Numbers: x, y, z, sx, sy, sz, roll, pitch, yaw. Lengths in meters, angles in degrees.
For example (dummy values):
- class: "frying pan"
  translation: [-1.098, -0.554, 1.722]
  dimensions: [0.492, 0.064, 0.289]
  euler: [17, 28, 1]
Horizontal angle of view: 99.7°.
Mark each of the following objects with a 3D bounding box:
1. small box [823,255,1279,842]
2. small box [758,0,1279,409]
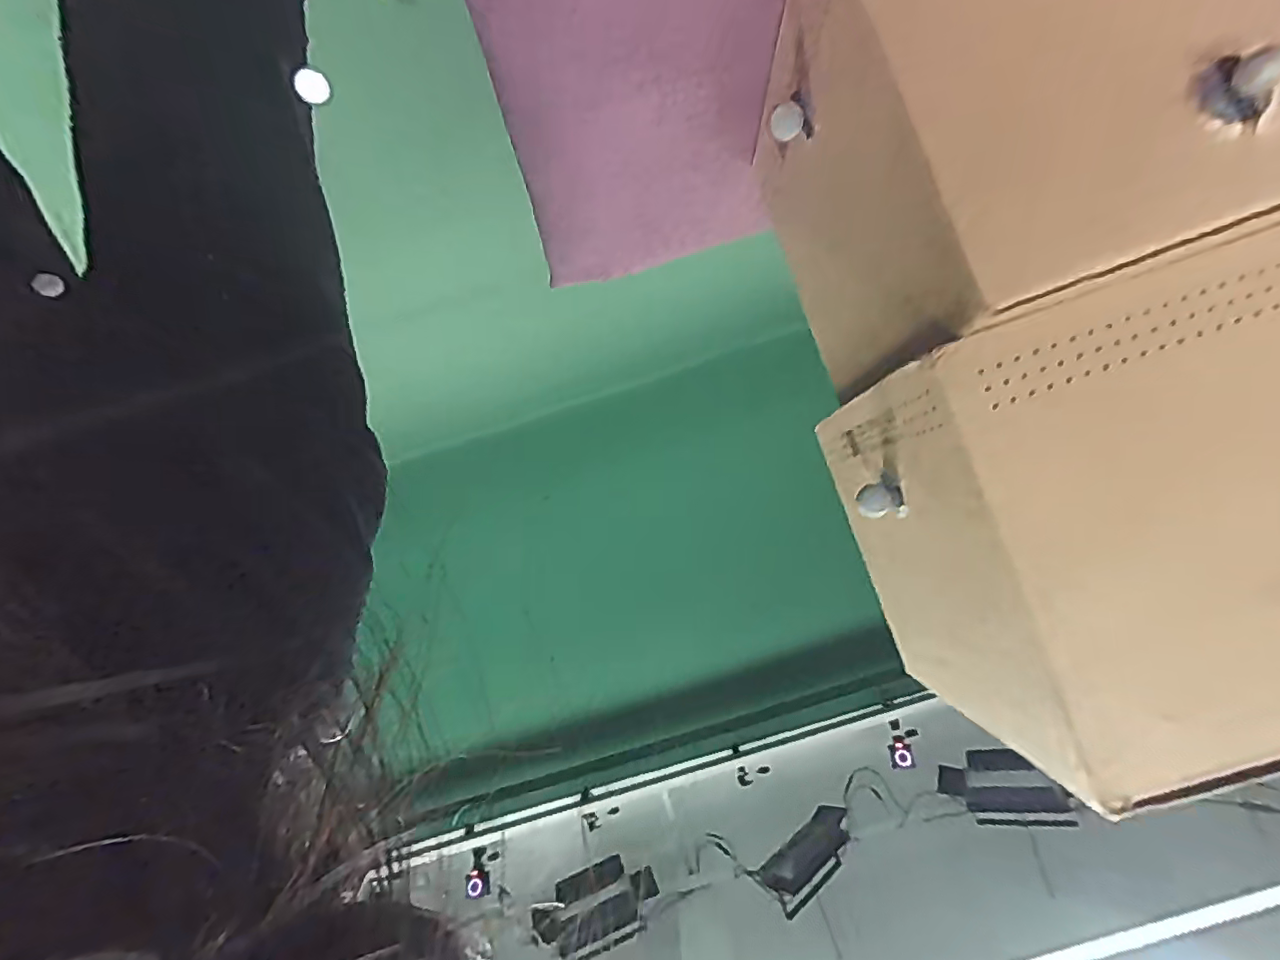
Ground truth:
- class: "small box"
  translation: [0.213, 0.013, 0.250]
  dimensions: [0.179, 0.176, 0.168]
  euler: [-19, 175, 3]
- class: "small box"
  translation: [0.172, -0.147, 0.243]
  dimensions: [0.179, 0.176, 0.168]
  euler: [-19, 176, 3]
